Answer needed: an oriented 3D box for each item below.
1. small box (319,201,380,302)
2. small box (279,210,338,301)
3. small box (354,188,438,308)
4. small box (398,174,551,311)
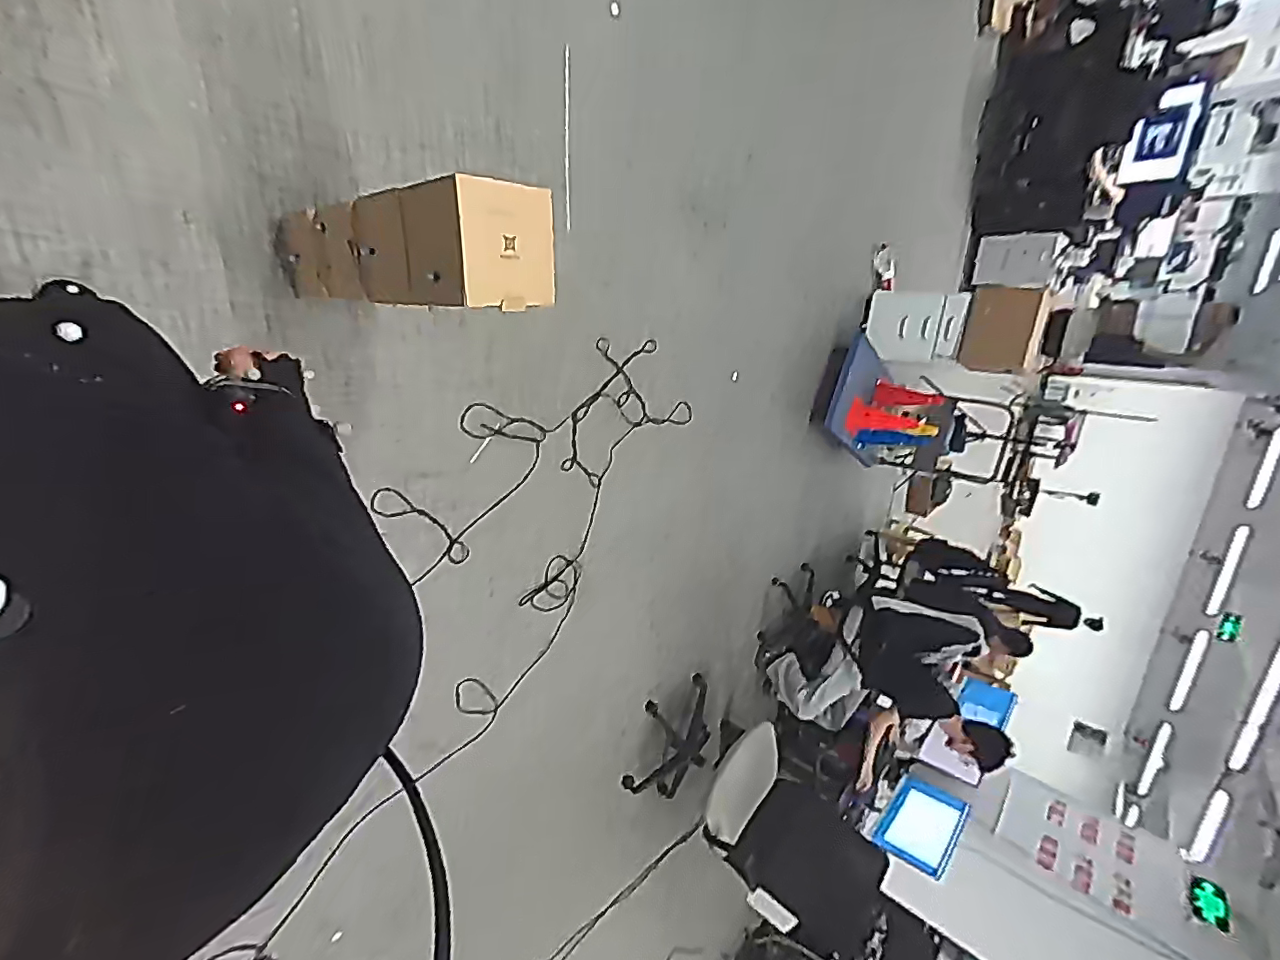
[{"bbox_3d":[-0.504,-0.437,1.059,0.179,0.176,0.168,-20,118,-45],"label":"small box"},{"bbox_3d":[-0.633,-0.472,1.155,0.179,0.176,0.168,-20,117,-43],"label":"small box"},{"bbox_3d":[-0.381,-0.401,0.957,0.168,0.176,0.179,-19,118,-44],"label":"small box"},{"bbox_3d":[-0.259,-0.363,0.855,0.168,0.176,0.179,-19,117,-45],"label":"small box"}]
